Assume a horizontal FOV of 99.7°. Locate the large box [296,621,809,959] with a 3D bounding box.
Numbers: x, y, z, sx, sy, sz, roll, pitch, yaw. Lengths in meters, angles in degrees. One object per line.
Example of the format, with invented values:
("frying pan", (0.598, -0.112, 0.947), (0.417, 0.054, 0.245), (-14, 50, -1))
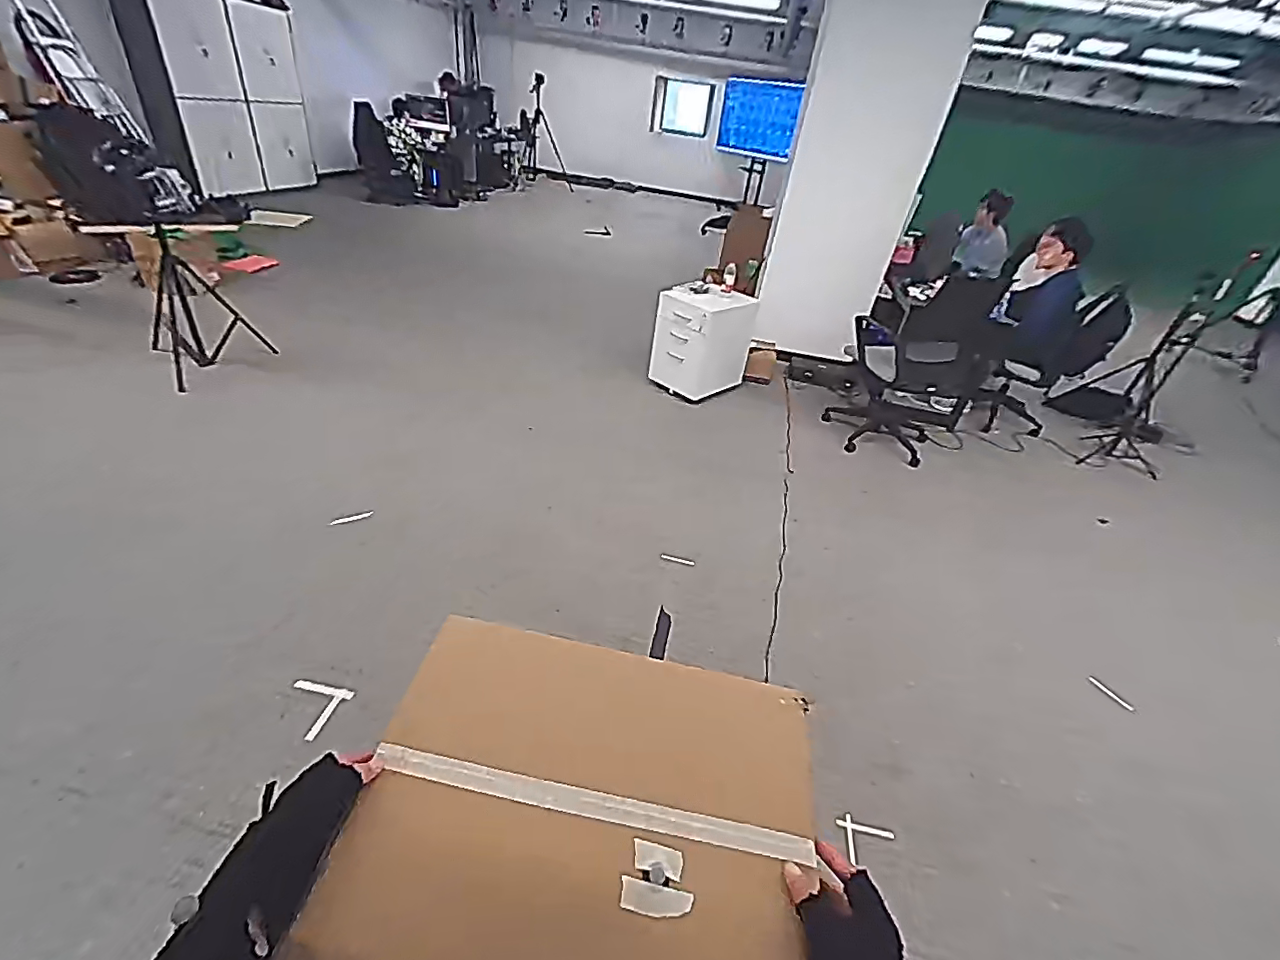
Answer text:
("large box", (-0.063, 0.408, 0.606), (0.408, 0.320, 0.320), (12, 42, 2))
